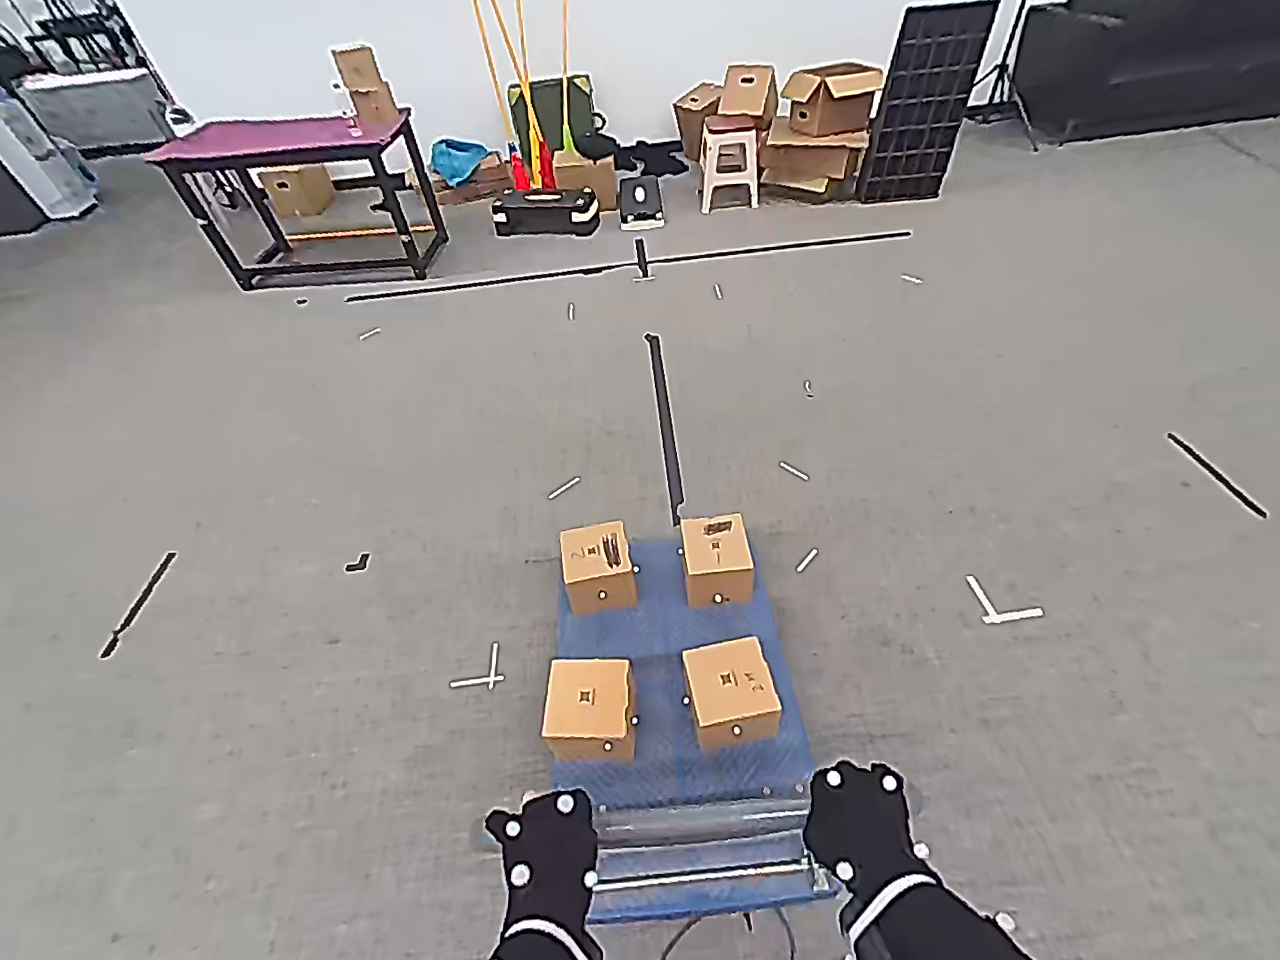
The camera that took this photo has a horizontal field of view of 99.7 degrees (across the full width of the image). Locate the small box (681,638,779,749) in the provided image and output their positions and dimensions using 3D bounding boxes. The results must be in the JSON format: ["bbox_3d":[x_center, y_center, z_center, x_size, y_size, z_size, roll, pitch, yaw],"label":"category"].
[{"bbox_3d":[0.199,0.484,1.217,0.179,0.176,0.168,-11,48,-3],"label":"small box"}]

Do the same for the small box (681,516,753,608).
[{"bbox_3d":[0.200,0.222,1.457,0.168,0.176,0.179,-6,48,1],"label":"small box"}]

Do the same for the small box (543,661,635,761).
[{"bbox_3d":[-0.107,0.522,1.218,0.179,0.176,0.168,-2,47,3],"label":"small box"}]
